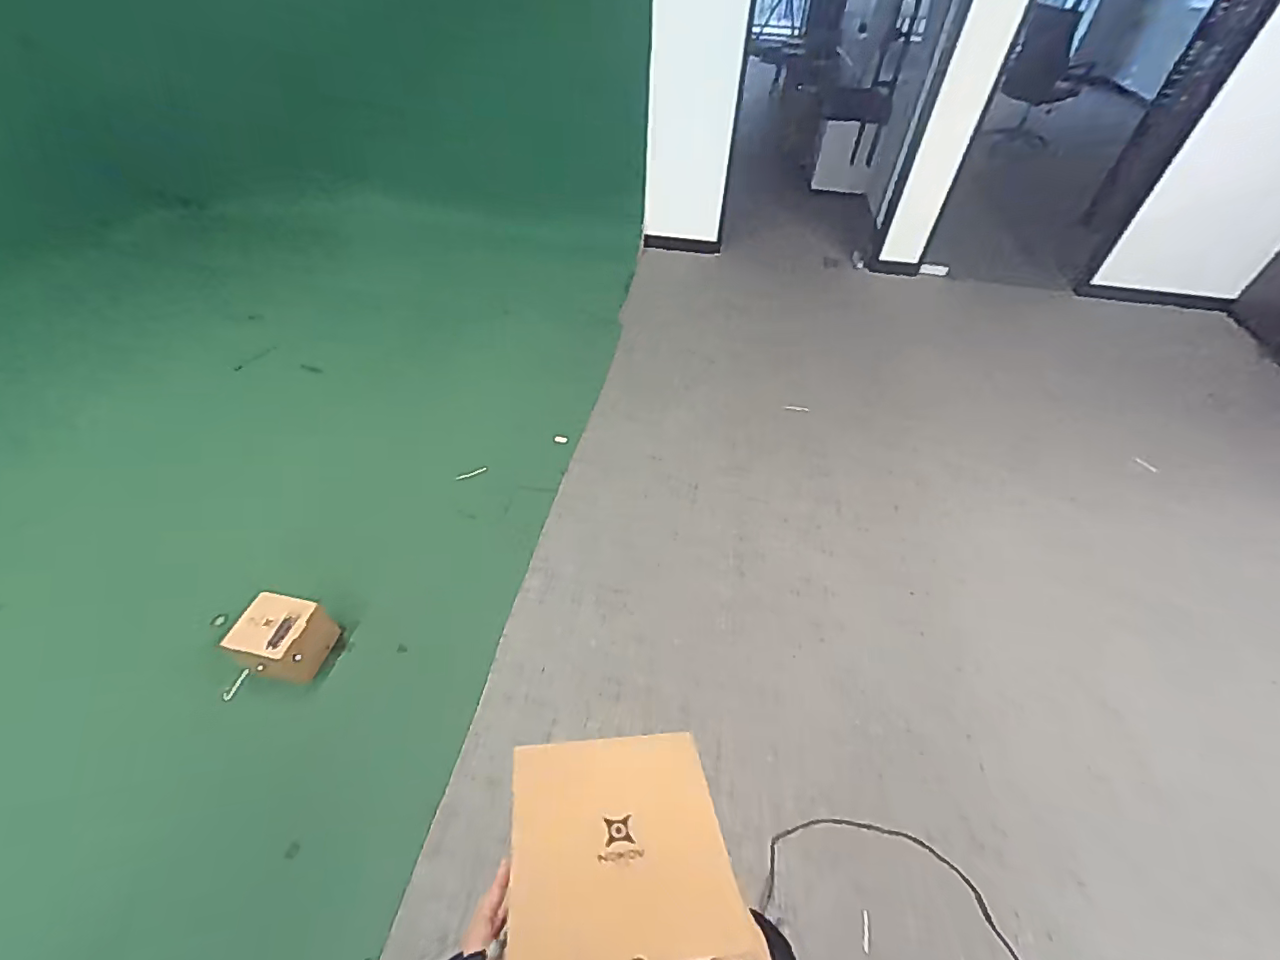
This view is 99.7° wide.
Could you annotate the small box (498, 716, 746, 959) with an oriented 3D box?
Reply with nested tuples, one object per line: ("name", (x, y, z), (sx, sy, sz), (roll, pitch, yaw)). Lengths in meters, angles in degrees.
("small box", (-0.032, 0.333, 0.454), (0.168, 0.176, 0.179), (0, 27, -13))
